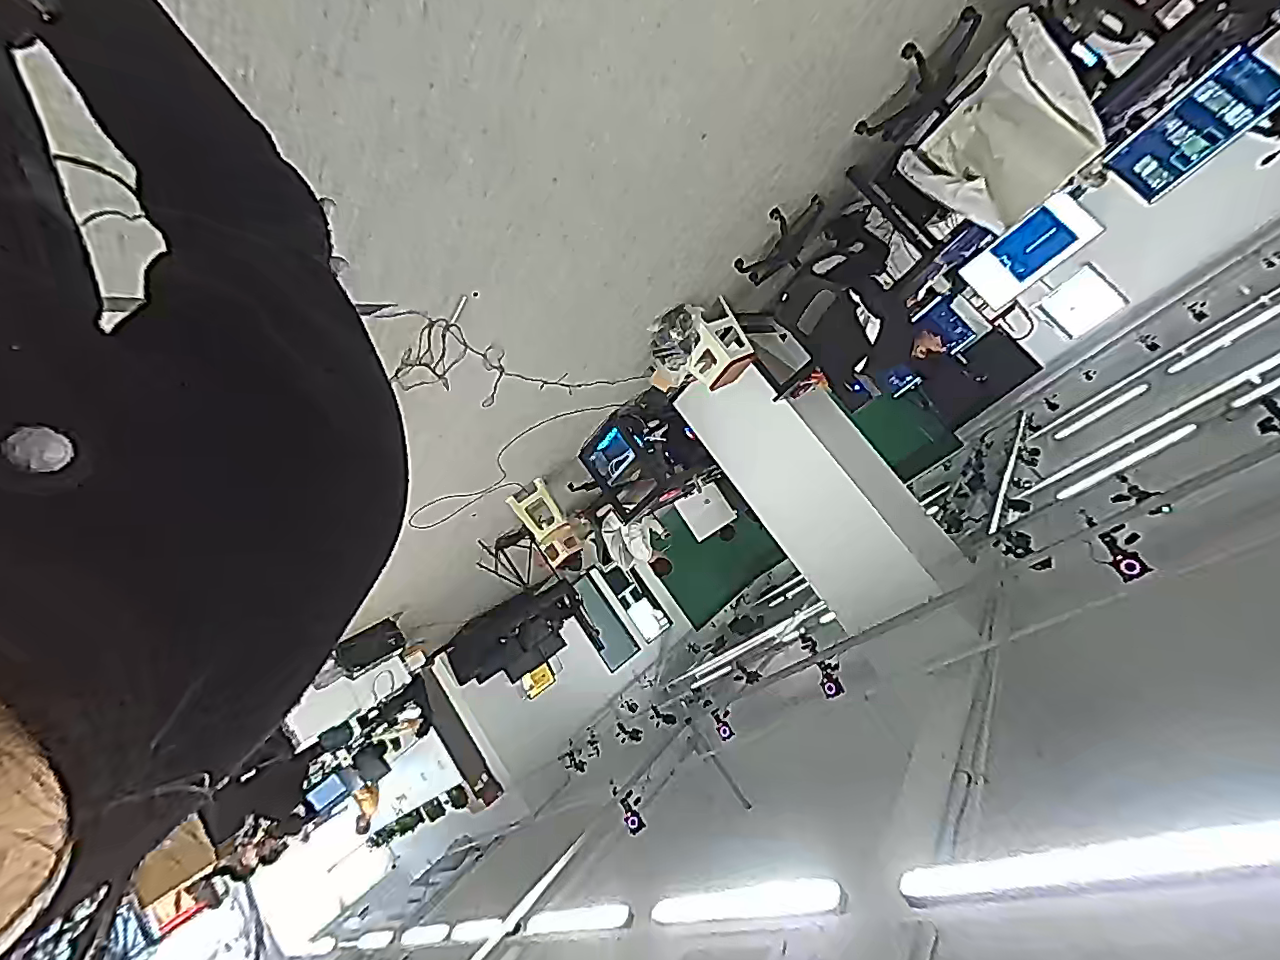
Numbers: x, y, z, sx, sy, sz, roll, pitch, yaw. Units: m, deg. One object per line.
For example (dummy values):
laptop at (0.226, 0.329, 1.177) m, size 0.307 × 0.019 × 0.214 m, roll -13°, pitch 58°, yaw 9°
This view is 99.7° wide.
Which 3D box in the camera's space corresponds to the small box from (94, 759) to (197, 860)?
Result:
small box at (-1.376, 0.913, 1.504) m, size 0.179 × 0.176 × 0.168 m, roll -44°, pitch 168°, yaw 37°

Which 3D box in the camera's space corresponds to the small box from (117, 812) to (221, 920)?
small box at (-1.281, 1.043, 1.469) m, size 0.179 × 0.176 × 0.168 m, roll -45°, pitch 167°, yaw 36°
